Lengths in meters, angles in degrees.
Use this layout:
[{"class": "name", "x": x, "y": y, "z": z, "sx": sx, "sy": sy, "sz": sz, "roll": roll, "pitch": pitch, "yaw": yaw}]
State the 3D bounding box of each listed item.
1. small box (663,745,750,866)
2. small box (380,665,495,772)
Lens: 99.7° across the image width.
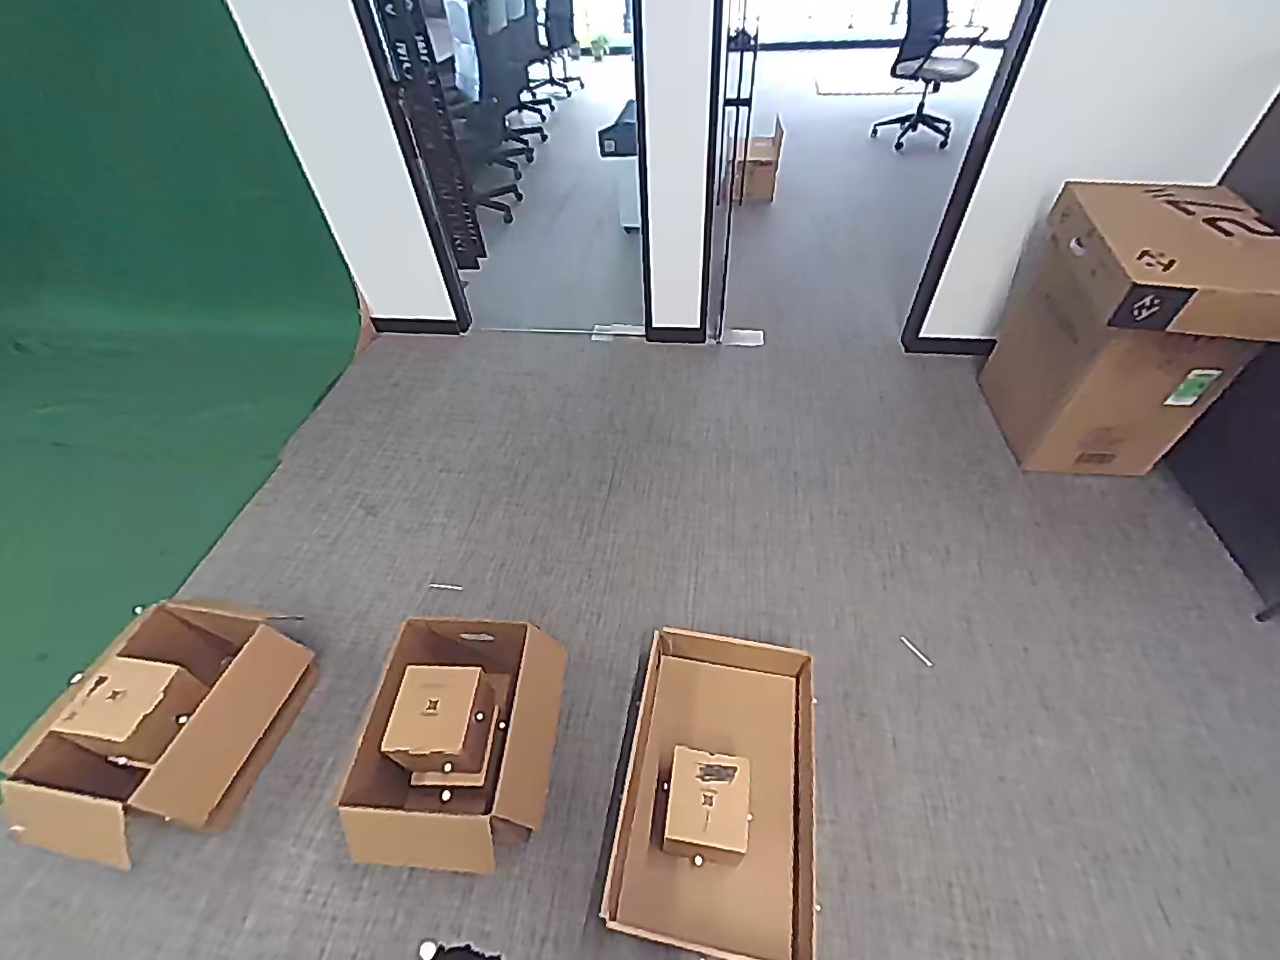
[{"class": "small box", "x": 0.141, "y": 0.703, "z": 1.167, "sx": 0.168, "sy": 0.176, "sz": 0.179, "roll": 6, "pitch": 47, "yaw": 8}, {"class": "small box", "x": -0.429, "y": 0.523, "z": 1.179, "sx": 0.168, "sy": 0.176, "sz": 0.179, "roll": 1, "pitch": 49, "yaw": 3}]
